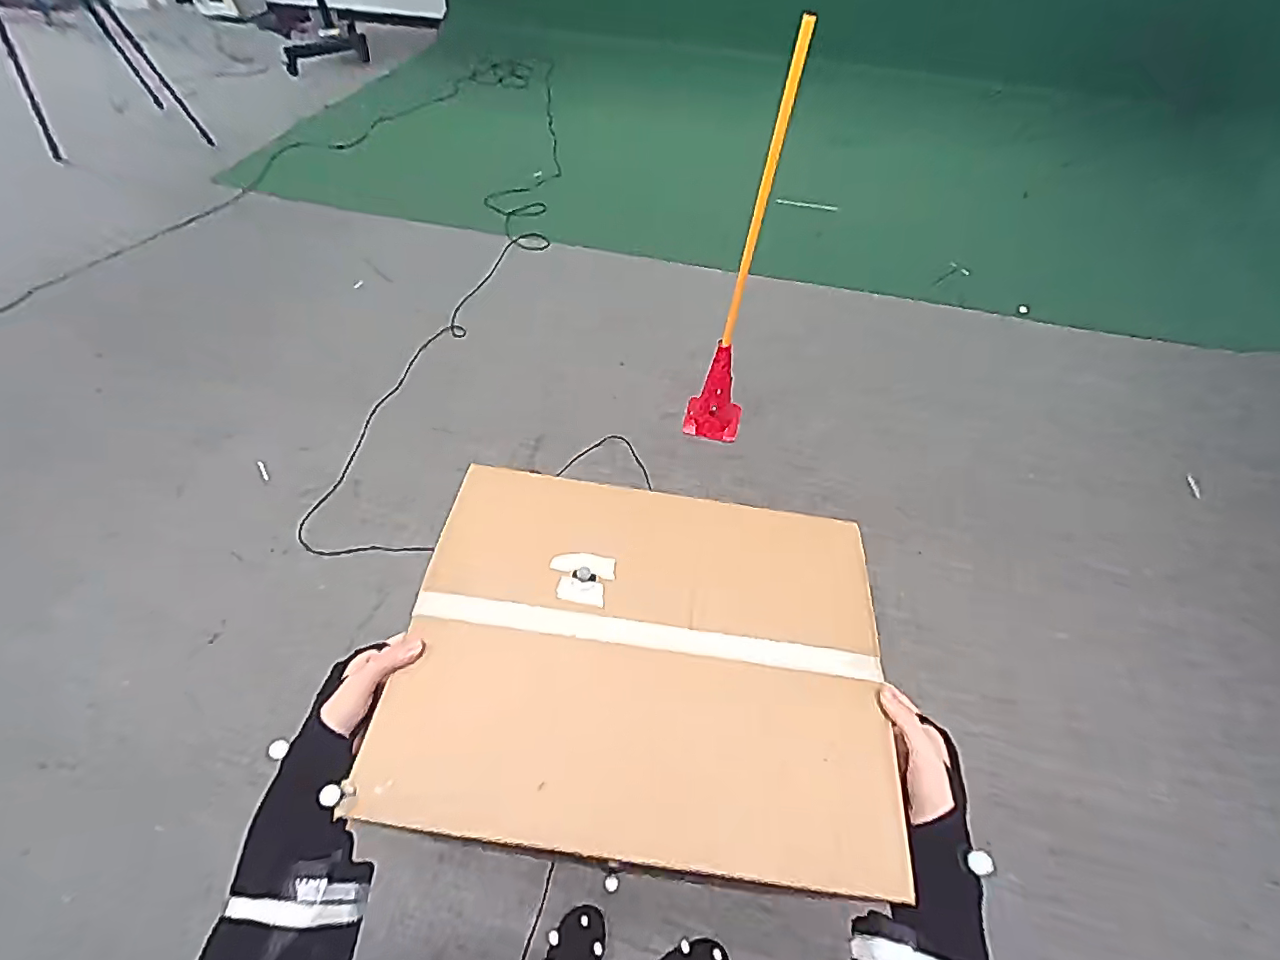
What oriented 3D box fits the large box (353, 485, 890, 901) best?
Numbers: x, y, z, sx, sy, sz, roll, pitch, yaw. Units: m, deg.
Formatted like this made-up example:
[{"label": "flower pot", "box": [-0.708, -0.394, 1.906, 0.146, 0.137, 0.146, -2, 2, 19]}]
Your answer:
[{"label": "large box", "box": [-0.006, 0.240, 0.598, 0.408, 0.320, 0.320, 9, 53, 1]}]
